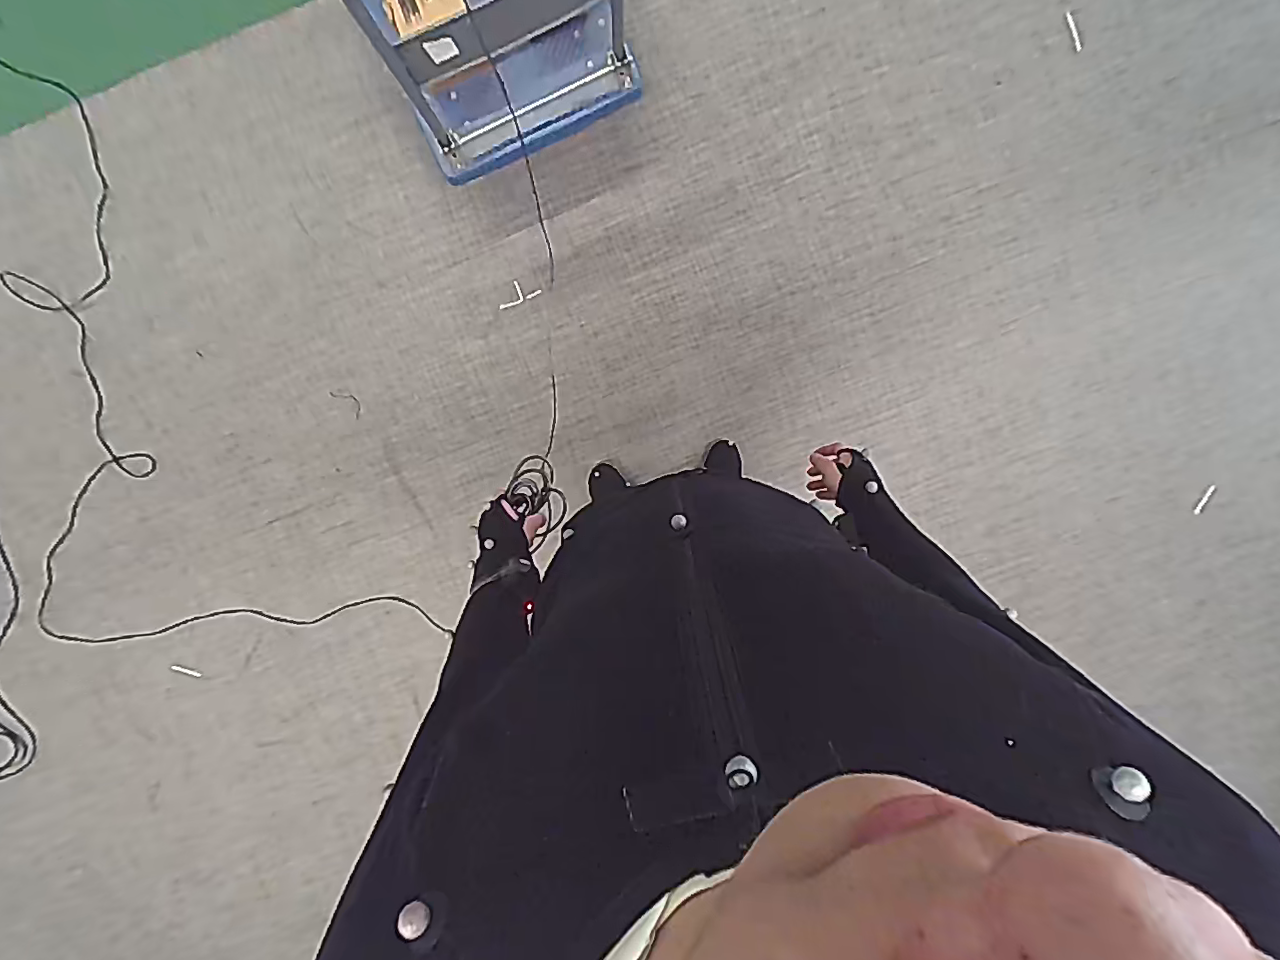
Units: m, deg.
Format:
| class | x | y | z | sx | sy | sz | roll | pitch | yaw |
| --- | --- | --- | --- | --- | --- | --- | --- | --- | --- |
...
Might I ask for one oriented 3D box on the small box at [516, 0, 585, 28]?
| class | x | y | z | sx | sy | sz | roll | pitch | yaw |
| --- | --- | --- | --- | --- | --- | --- | --- | --- | --- |
| small box | -0.240 | -1.236 | 1.273 | 0.168 | 0.176 | 0.179 | -23 | 95 | 2 |
